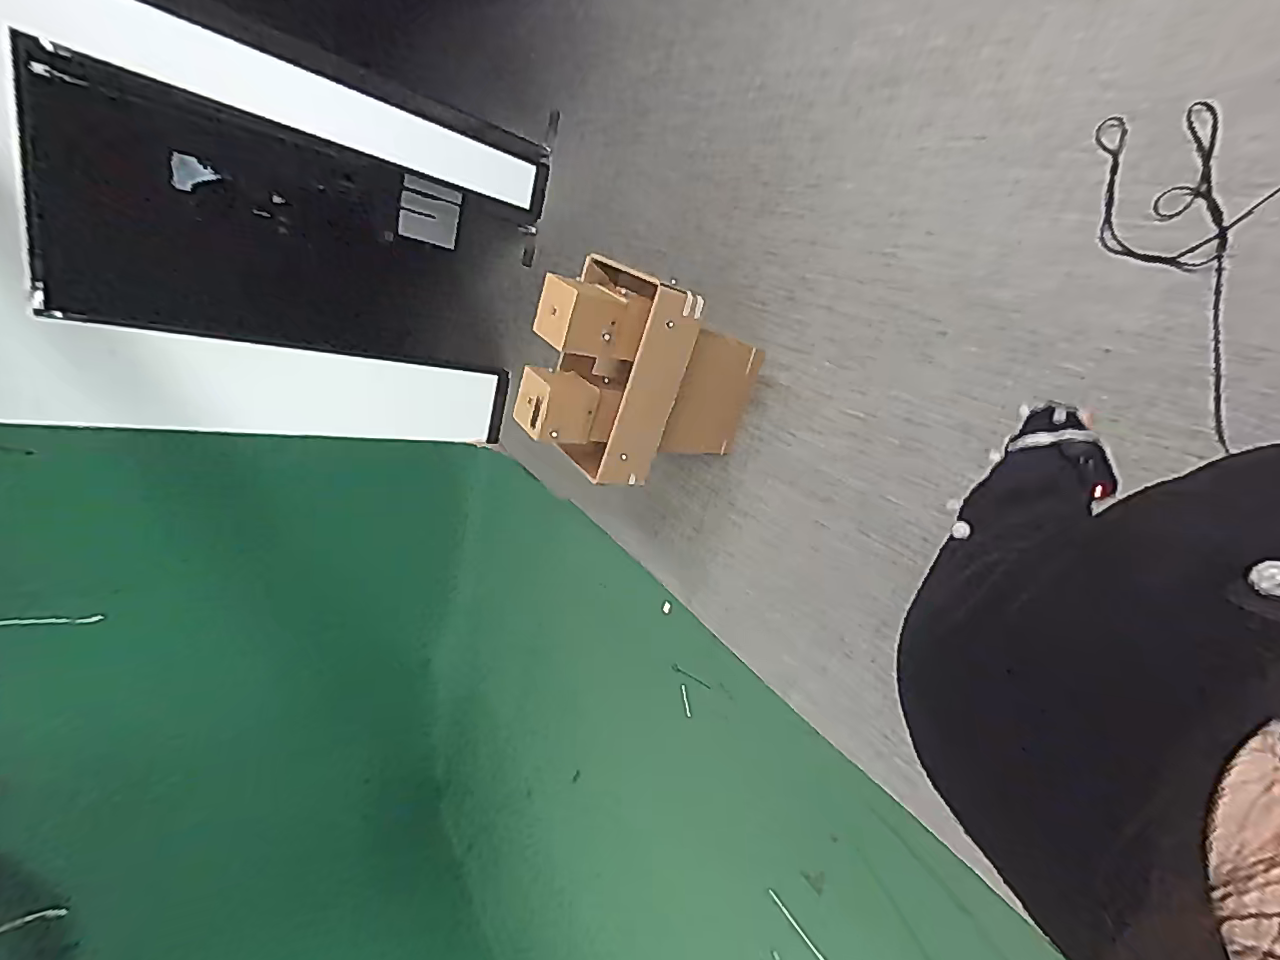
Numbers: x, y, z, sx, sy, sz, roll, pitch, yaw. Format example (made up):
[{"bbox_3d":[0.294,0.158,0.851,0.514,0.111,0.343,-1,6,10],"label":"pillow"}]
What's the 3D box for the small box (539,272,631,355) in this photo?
[{"bbox_3d":[-0.154,-0.463,1.519,0.179,0.176,0.168,43,123,40],"label":"small box"}]
